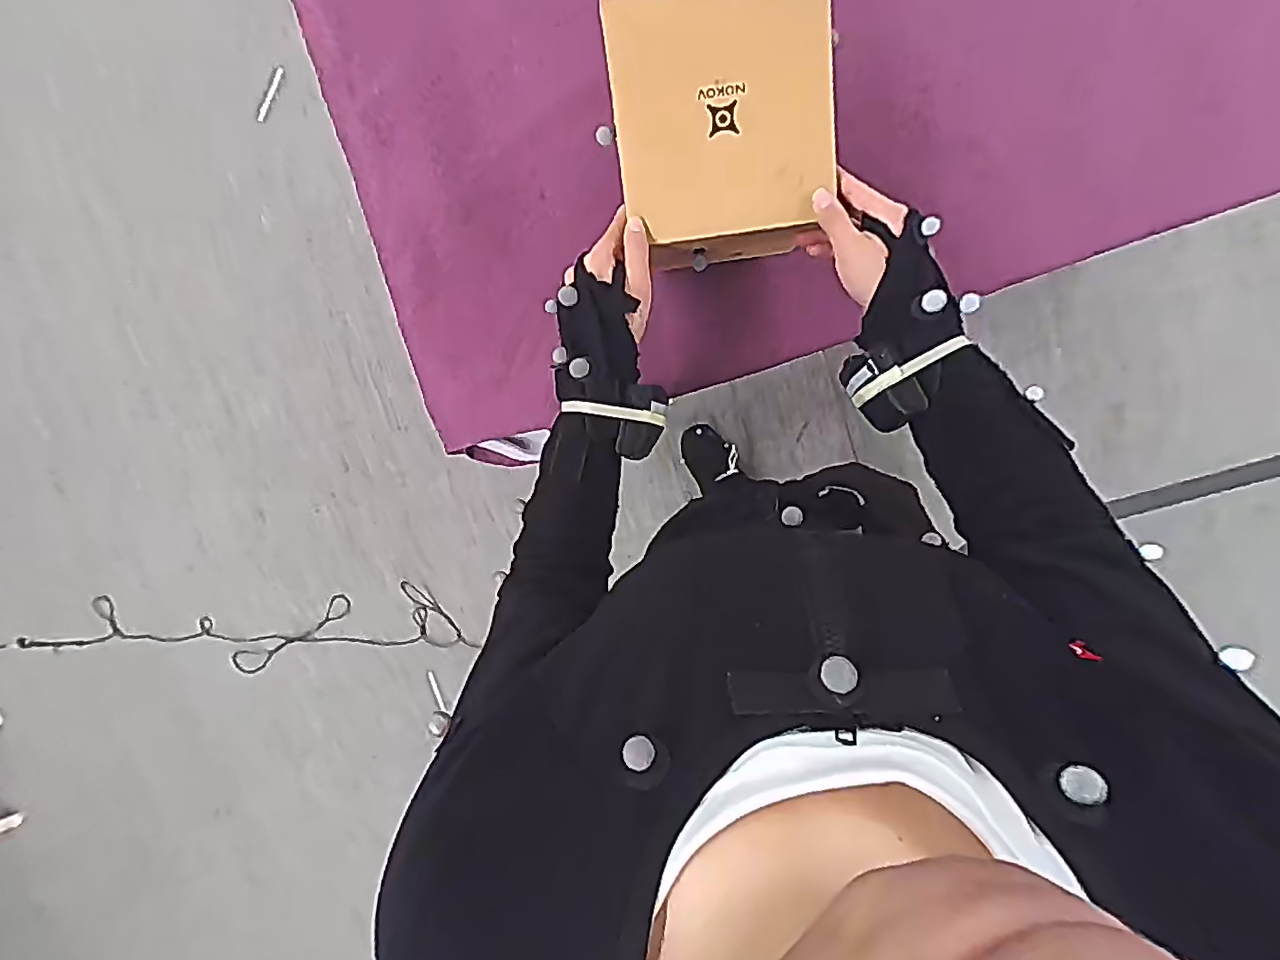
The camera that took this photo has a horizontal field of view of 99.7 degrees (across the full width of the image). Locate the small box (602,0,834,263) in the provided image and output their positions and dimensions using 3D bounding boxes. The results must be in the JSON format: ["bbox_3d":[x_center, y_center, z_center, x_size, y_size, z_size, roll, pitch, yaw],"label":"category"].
[{"bbox_3d":[0.066,-0.300,0.482,0.168,0.176,0.179,-6,103,4],"label":"small box"}]
